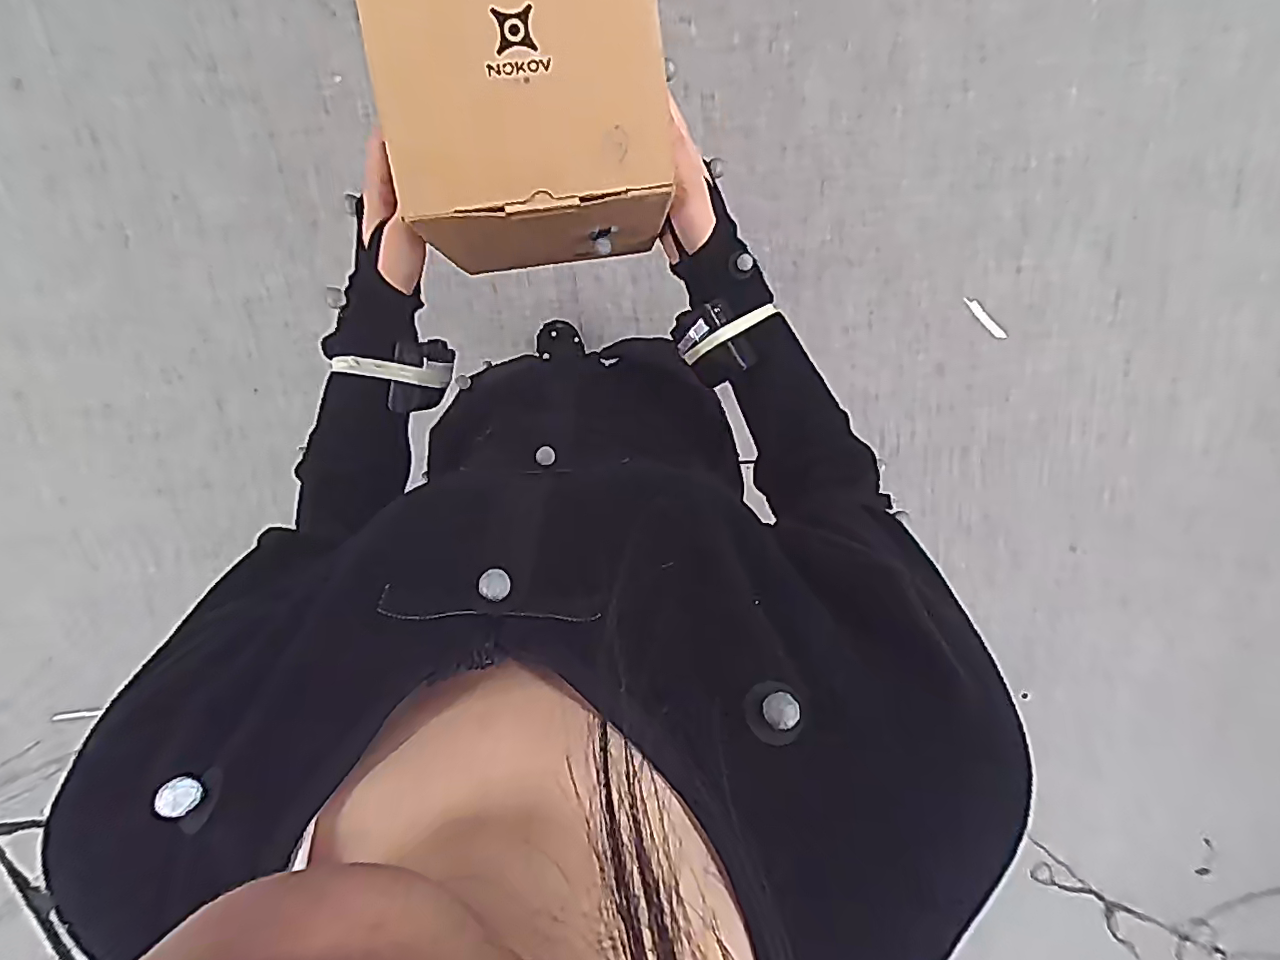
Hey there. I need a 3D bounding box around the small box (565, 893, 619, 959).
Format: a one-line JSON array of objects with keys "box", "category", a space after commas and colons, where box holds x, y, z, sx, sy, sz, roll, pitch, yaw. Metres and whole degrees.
[{"box": [-0.161, 1.581, 1.867, 0.168, 0.176, 0.179, -7, 105, -2], "category": "small box"}]

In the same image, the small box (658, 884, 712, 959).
[{"box": [0.155, 1.556, 1.881, 0.168, 0.176, 0.179, -5, 107, -2], "category": "small box"}]
